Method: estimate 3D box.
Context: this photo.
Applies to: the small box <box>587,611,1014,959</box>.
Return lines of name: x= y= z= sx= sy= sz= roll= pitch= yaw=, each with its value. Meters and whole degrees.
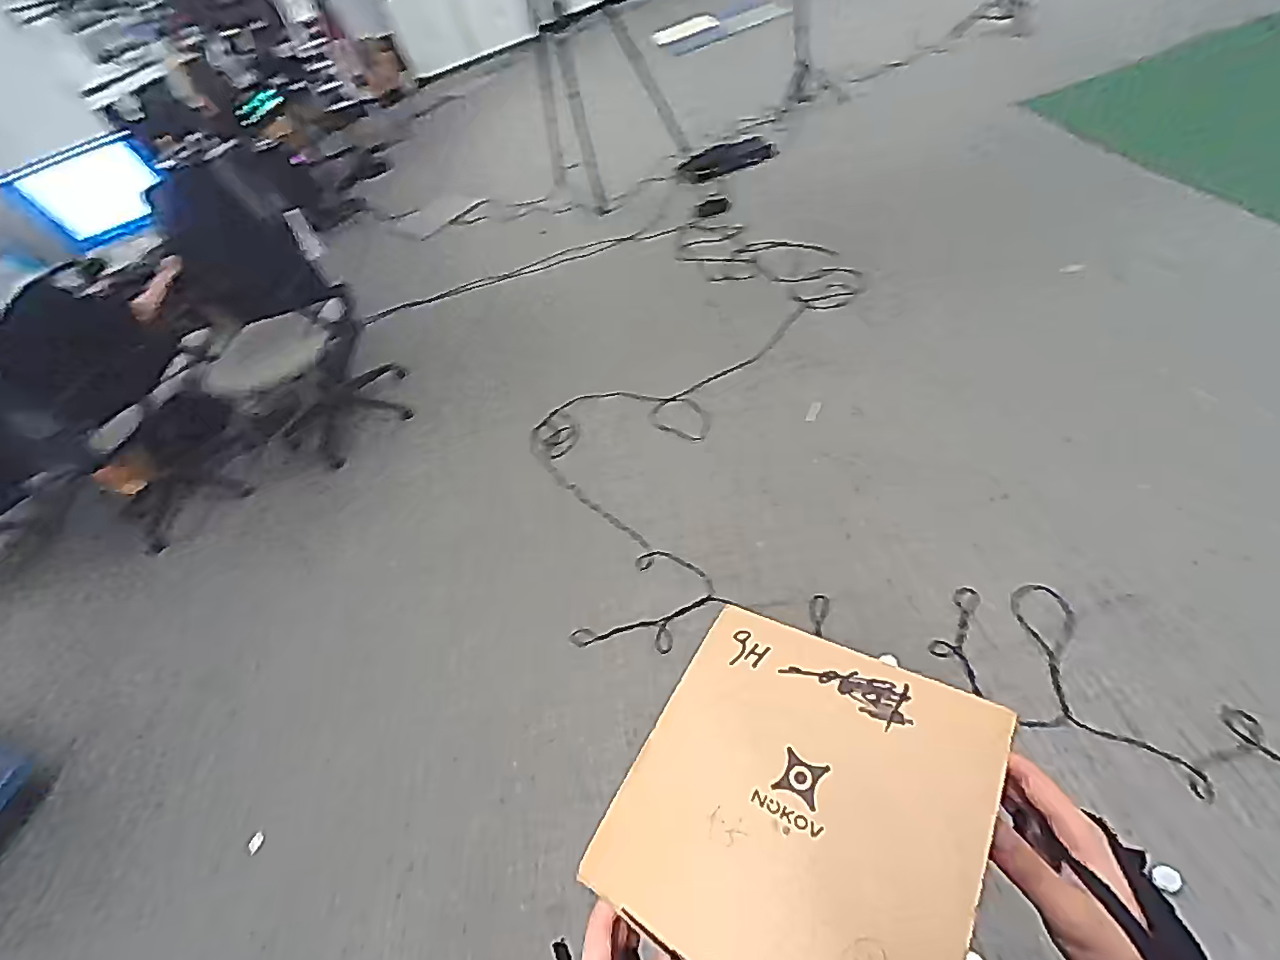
small box: x=0.104 y=0.219 z=0.330 sx=0.168 sy=0.176 sz=0.179 roll=15 pitch=54 yaw=36
